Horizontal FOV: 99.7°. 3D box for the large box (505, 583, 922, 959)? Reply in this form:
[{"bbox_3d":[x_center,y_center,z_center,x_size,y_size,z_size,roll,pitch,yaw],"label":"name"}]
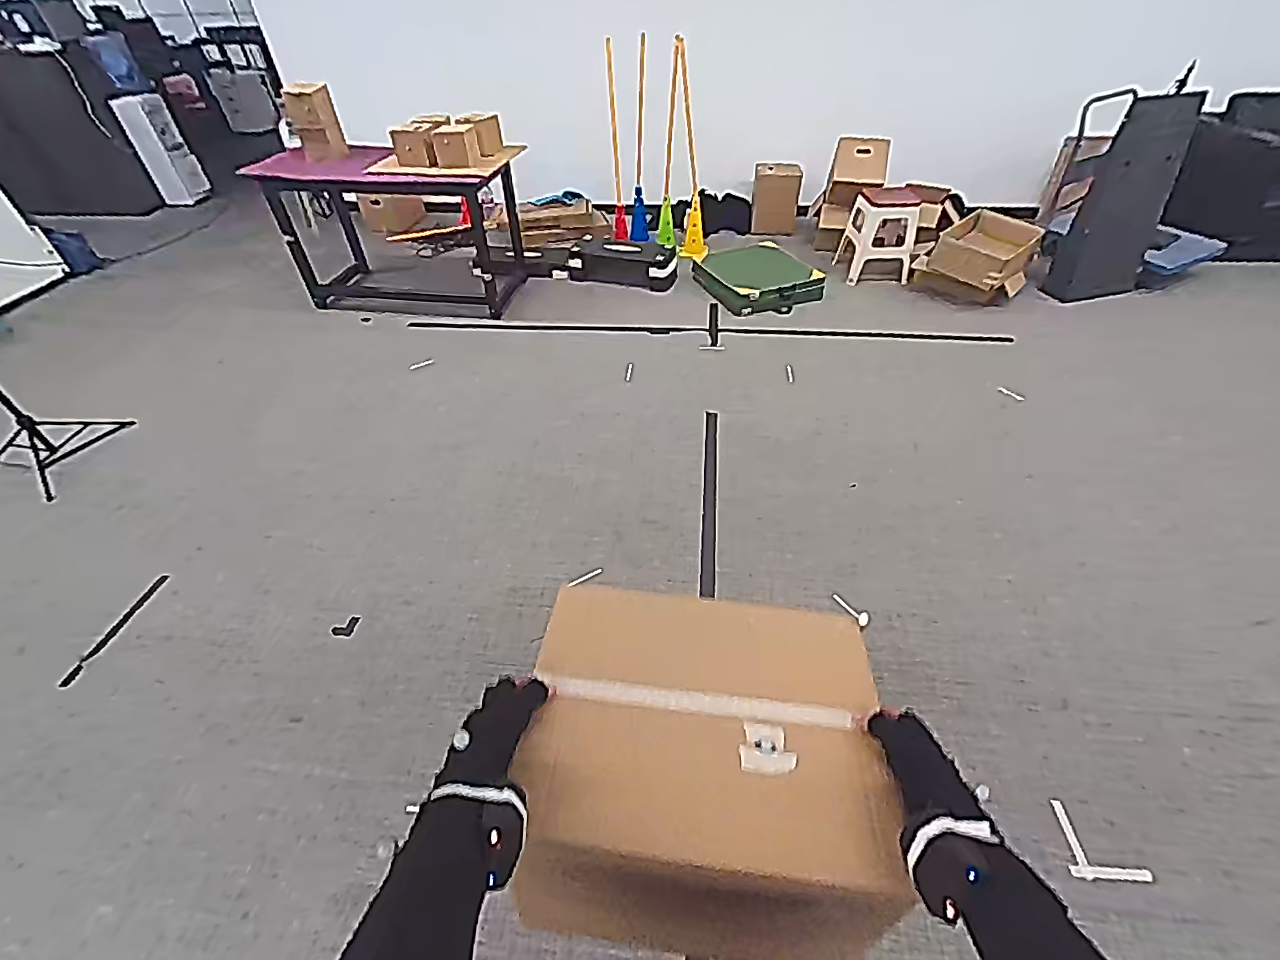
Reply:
[{"bbox_3d":[0.072,0.372,0.713,0.408,0.320,0.320,7,38,4],"label":"large box"}]
